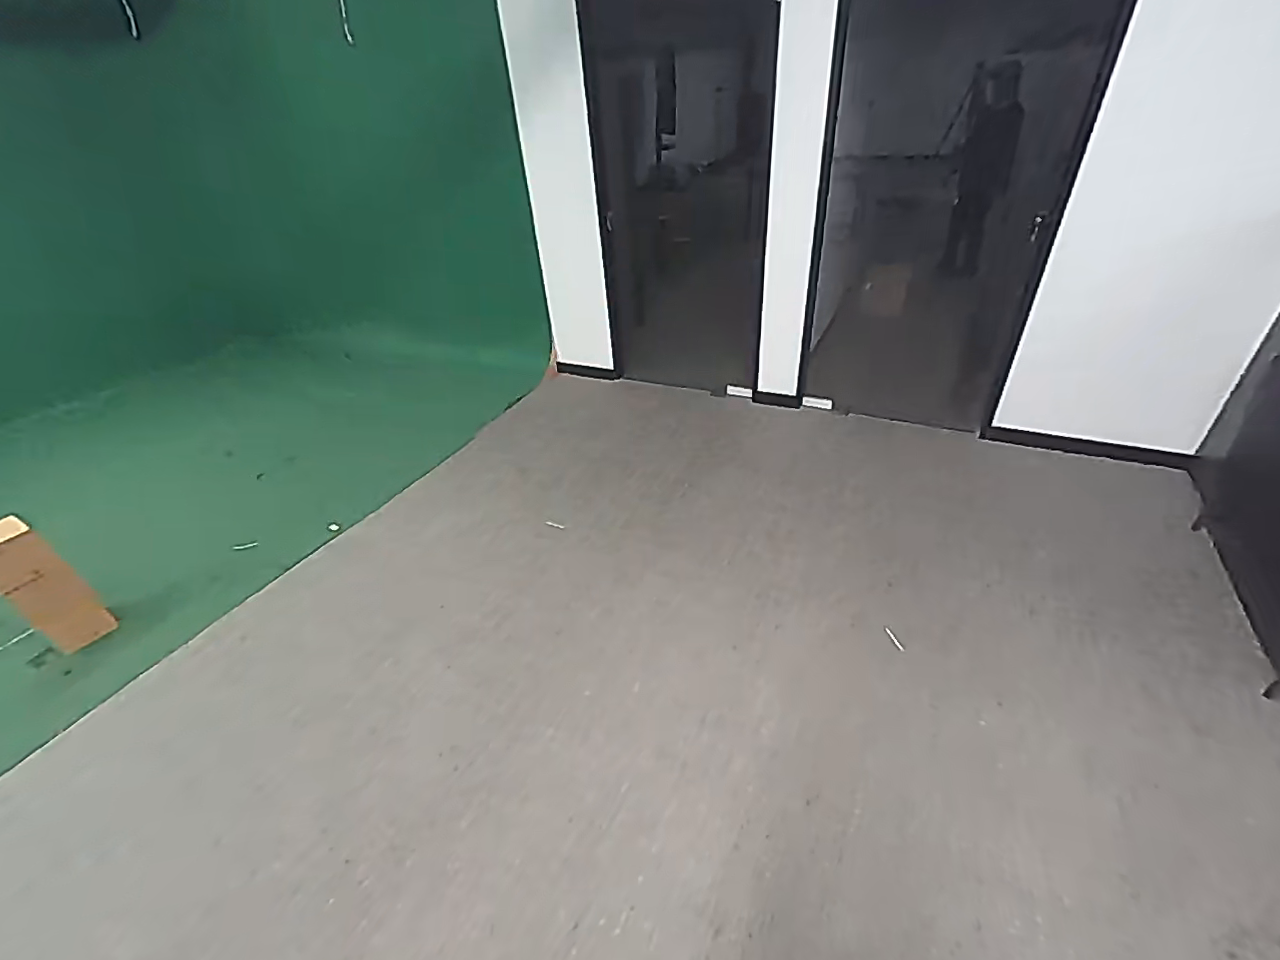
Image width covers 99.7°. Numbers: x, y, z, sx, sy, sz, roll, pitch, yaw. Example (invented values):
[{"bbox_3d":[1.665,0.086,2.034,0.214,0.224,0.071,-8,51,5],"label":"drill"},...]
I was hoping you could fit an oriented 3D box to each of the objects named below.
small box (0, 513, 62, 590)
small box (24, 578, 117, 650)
[{"bbox_3d":[-2.130,0.242,1.823,0.179,0.176,0.168,16,38,27],"label":"small box"},{"bbox_3d":[-2.118,0.506,2.019,0.179,0.176,0.168,19,41,30],"label":"small box"}]
